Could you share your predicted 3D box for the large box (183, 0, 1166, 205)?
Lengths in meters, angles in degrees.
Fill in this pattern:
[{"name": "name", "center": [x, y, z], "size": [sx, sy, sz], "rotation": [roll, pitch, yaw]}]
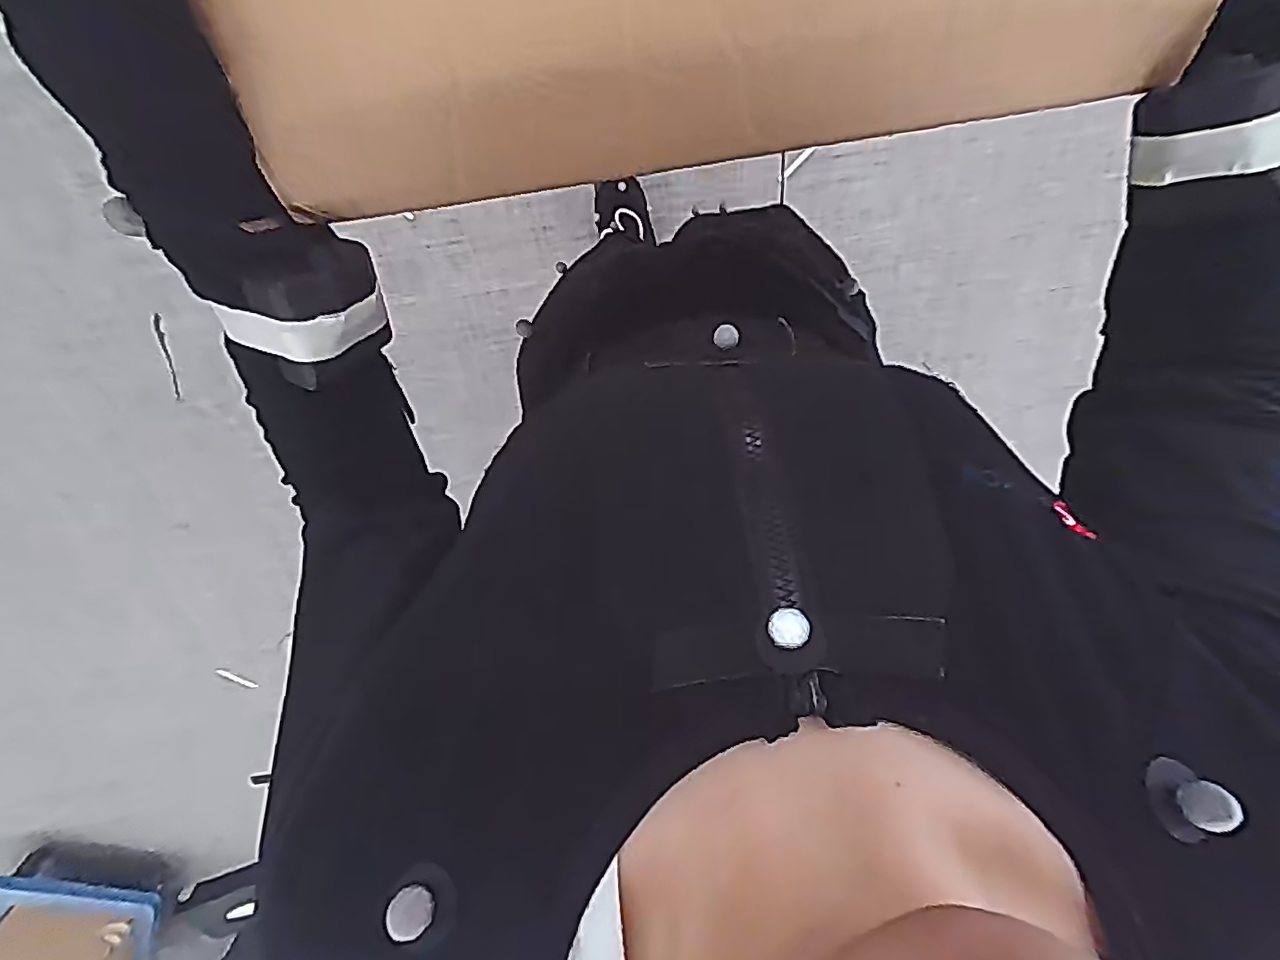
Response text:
[{"name": "large box", "center": [0.004, -0.371, 0.235], "size": [0.408, 0.320, 0.320], "rotation": [-8, 139, 1]}]
